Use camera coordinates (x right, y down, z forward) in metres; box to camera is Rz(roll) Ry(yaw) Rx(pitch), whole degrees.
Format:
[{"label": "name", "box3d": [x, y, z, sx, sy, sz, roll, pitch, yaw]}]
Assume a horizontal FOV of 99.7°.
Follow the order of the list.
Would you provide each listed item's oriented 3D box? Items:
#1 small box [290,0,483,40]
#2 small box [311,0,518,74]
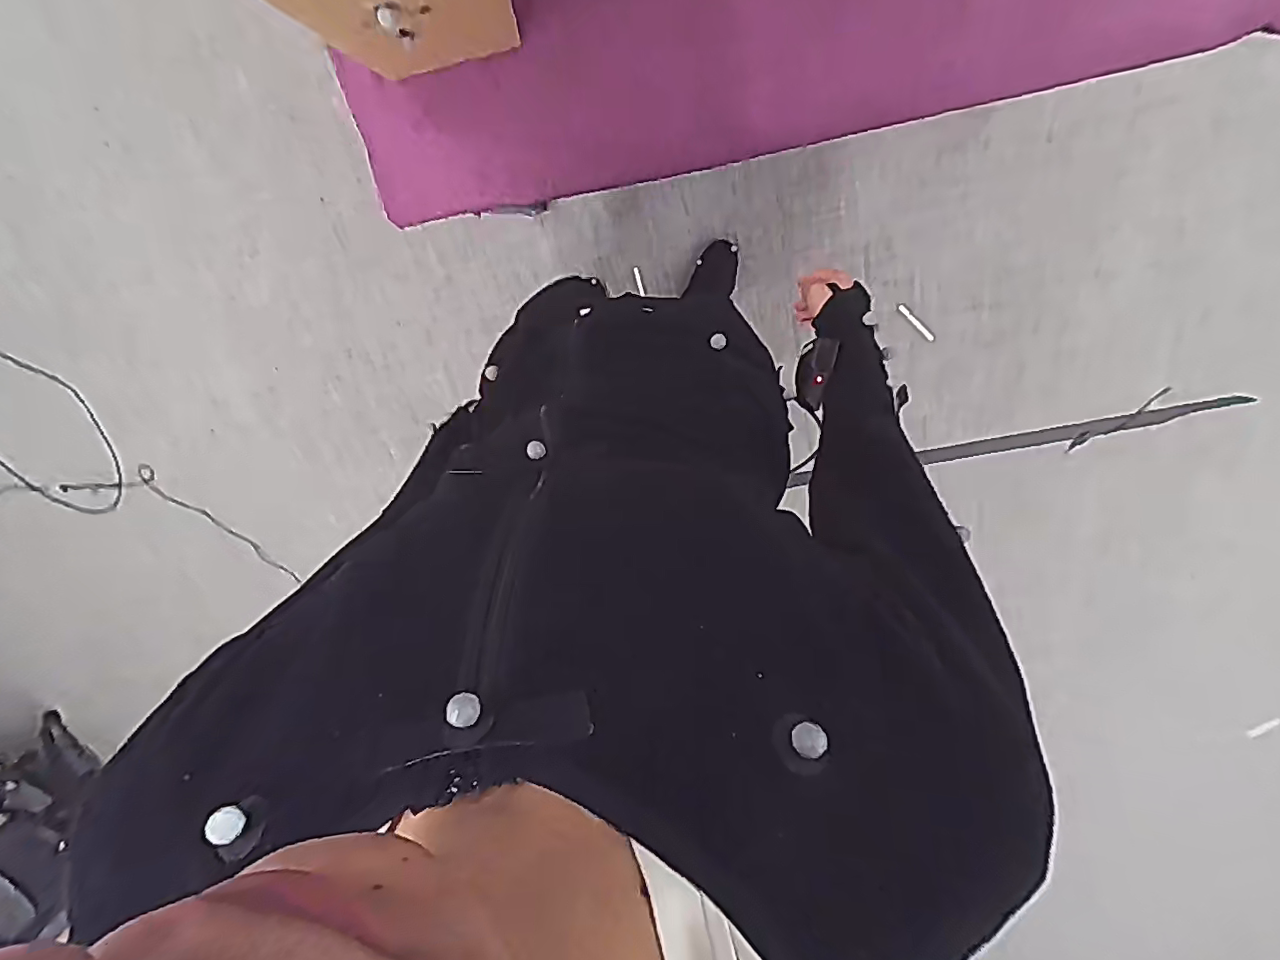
[{"label": "small box", "box3d": [-0.240, -0.491, 0.421, 0.168, 0.176, 0.179, -10, 114, 6]}, {"label": "small box", "box3d": [-0.248, -0.561, 0.570, 0.179, 0.176, 0.168, -9, 114, 6]}]
